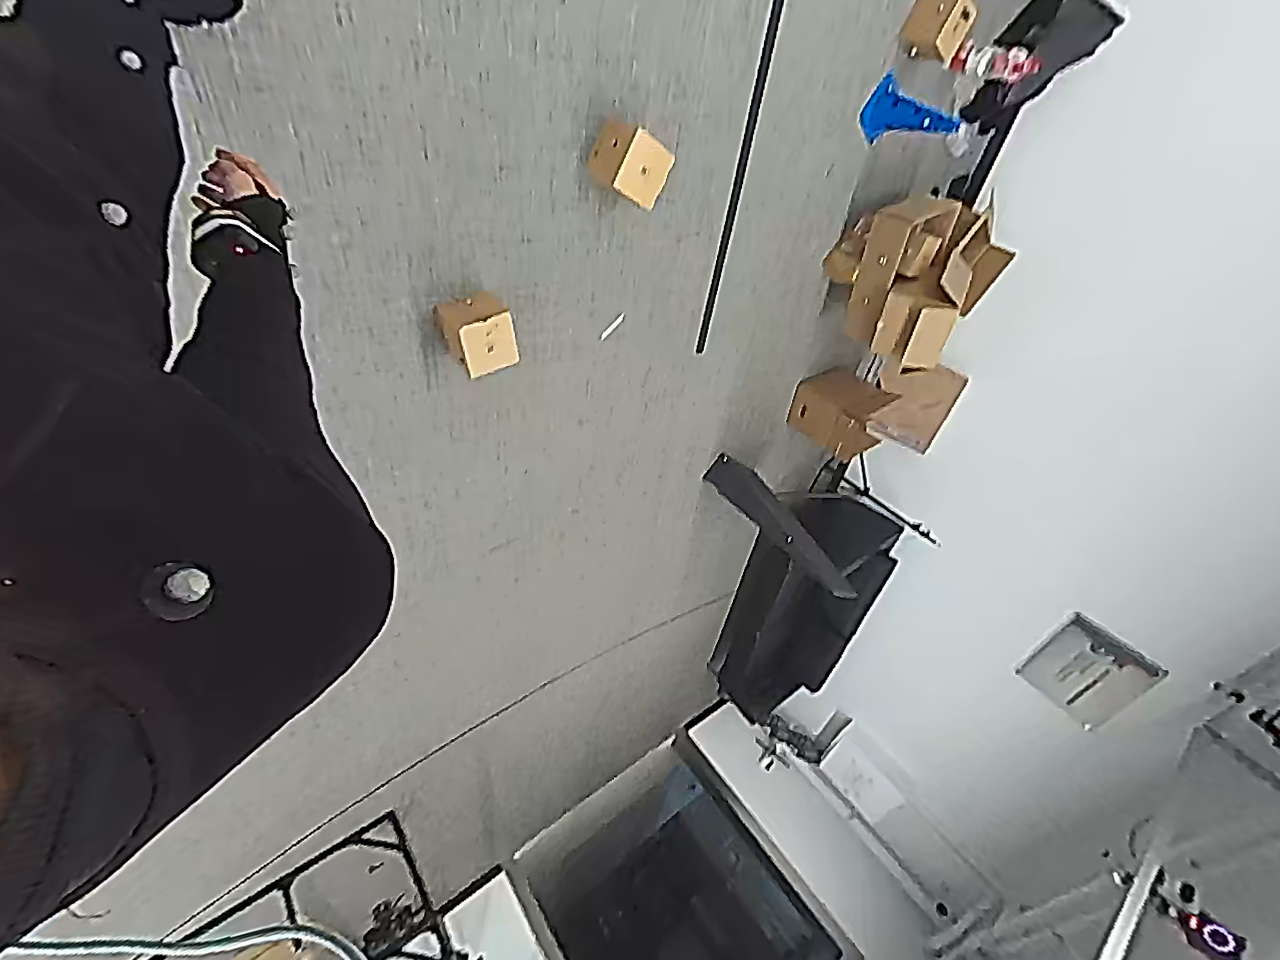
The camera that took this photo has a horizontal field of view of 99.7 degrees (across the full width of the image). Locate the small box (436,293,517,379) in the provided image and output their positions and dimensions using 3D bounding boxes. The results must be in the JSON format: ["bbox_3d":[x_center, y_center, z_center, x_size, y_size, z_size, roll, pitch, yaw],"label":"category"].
[{"bbox_3d":[-0.500,-0.446,1.659,0.168,0.176,0.179,-28,142,-24],"label":"small box"}]

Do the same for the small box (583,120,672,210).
[{"bbox_3d":[-0.043,-0.954,1.634,0.179,0.176,0.168,5,121,-50],"label":"small box"}]
